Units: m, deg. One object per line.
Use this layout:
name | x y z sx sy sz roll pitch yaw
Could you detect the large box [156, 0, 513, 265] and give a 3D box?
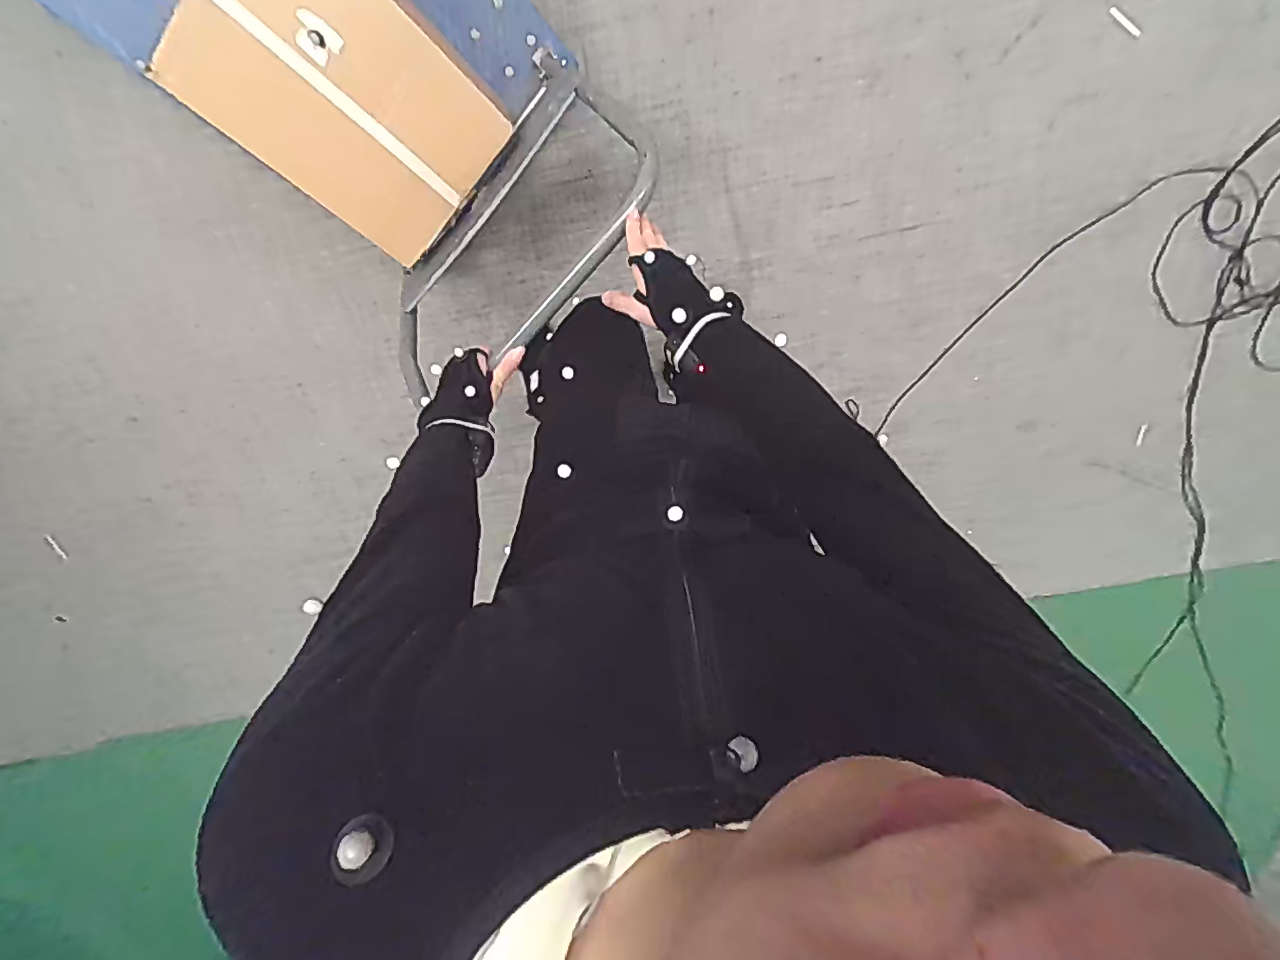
large box | -0.479 -0.667 0.939 0.320 0.320 0.408 -43 129 18
